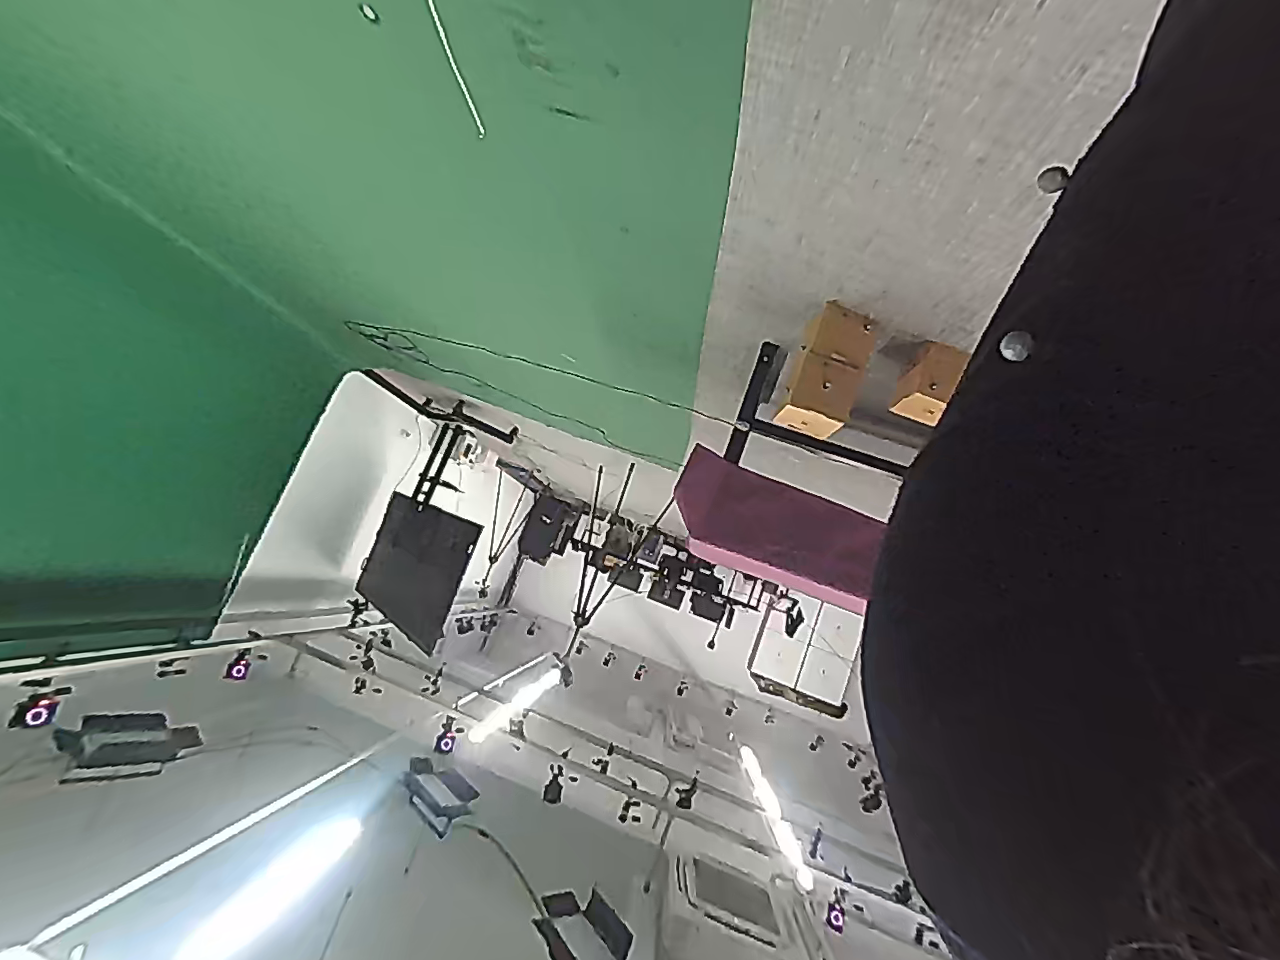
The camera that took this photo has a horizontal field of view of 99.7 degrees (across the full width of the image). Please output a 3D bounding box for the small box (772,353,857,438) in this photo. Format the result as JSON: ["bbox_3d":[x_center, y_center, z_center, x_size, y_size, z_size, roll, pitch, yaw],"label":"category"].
[{"bbox_3d":[0.509,-0.245,1.574,0.168,0.176,0.179,22,169,2],"label":"small box"}]

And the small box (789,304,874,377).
[{"bbox_3d":[0.572,-0.393,1.608,0.168,0.176,0.179,22,171,-2],"label":"small box"}]
